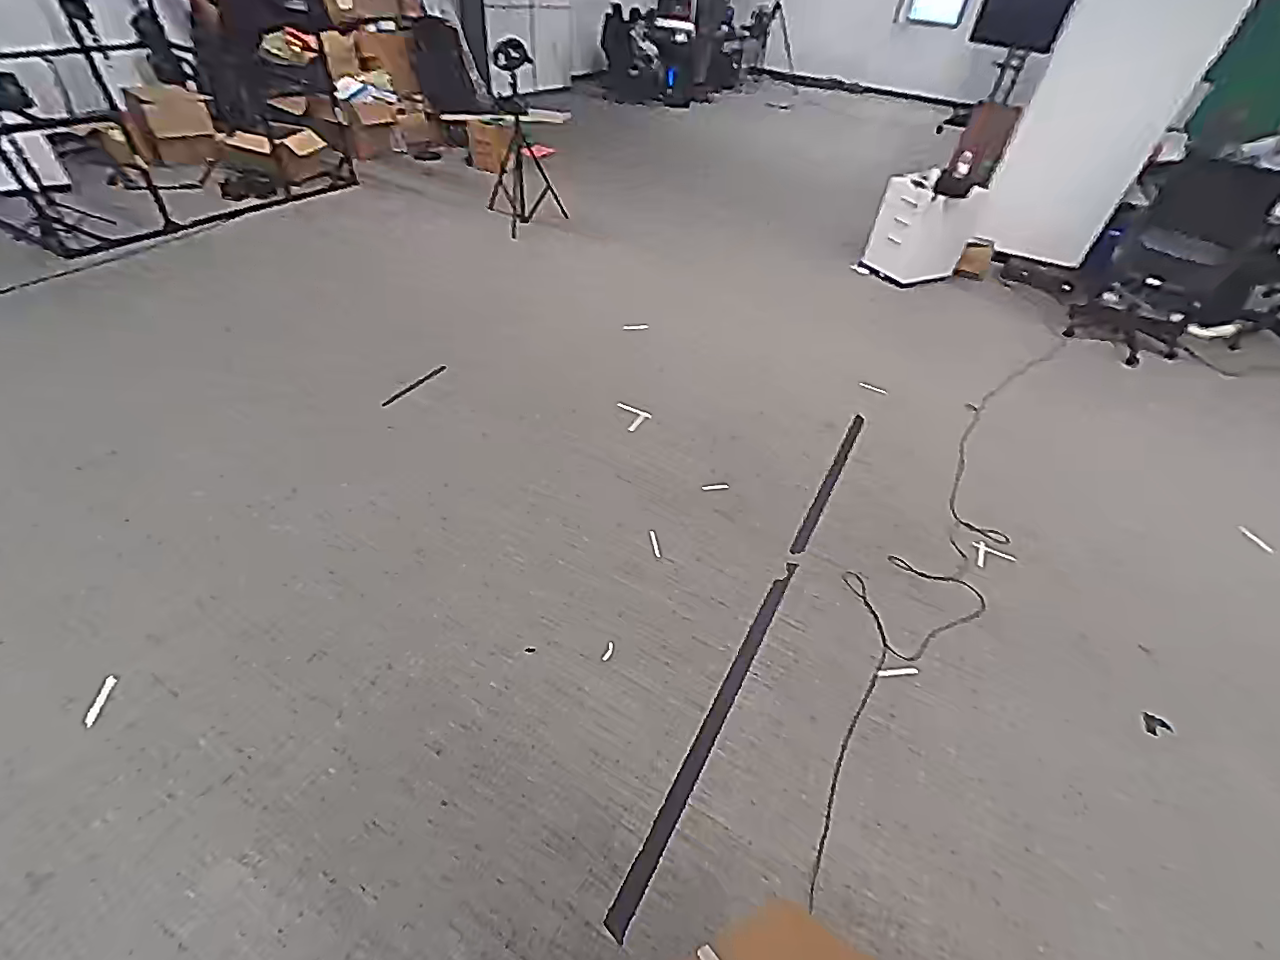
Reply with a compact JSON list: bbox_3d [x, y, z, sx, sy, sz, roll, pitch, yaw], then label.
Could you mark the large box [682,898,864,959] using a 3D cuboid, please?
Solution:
[{"bbox_3d":[0.202,0.801,0.629,0.320,0.408,0.320,-19,76,-19],"label":"large box"}]
